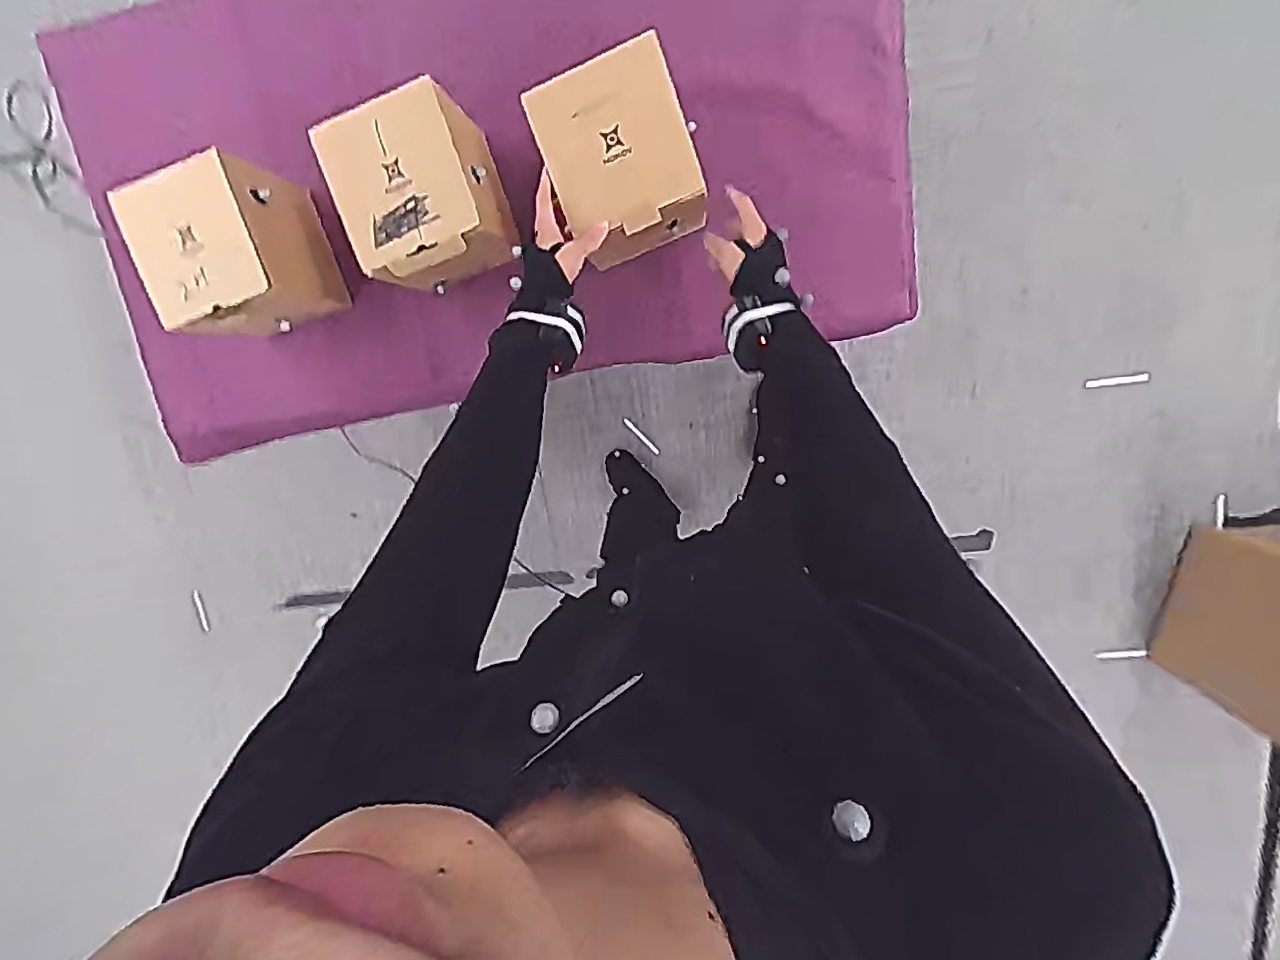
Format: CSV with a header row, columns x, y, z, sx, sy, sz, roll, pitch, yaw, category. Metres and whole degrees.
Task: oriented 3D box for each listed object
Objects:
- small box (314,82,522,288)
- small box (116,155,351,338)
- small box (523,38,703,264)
x,y,z,sx,sy,sz,roll,pitch,yaw,category
-0.279,-0.371,0.724,0.168,0.176,0.179,-18,99,9,small box
-0.553,-0.311,0.762,0.168,0.176,0.179,-16,100,9,small box
-0.021,-0.396,0.695,0.168,0.176,0.179,-20,99,9,small box
